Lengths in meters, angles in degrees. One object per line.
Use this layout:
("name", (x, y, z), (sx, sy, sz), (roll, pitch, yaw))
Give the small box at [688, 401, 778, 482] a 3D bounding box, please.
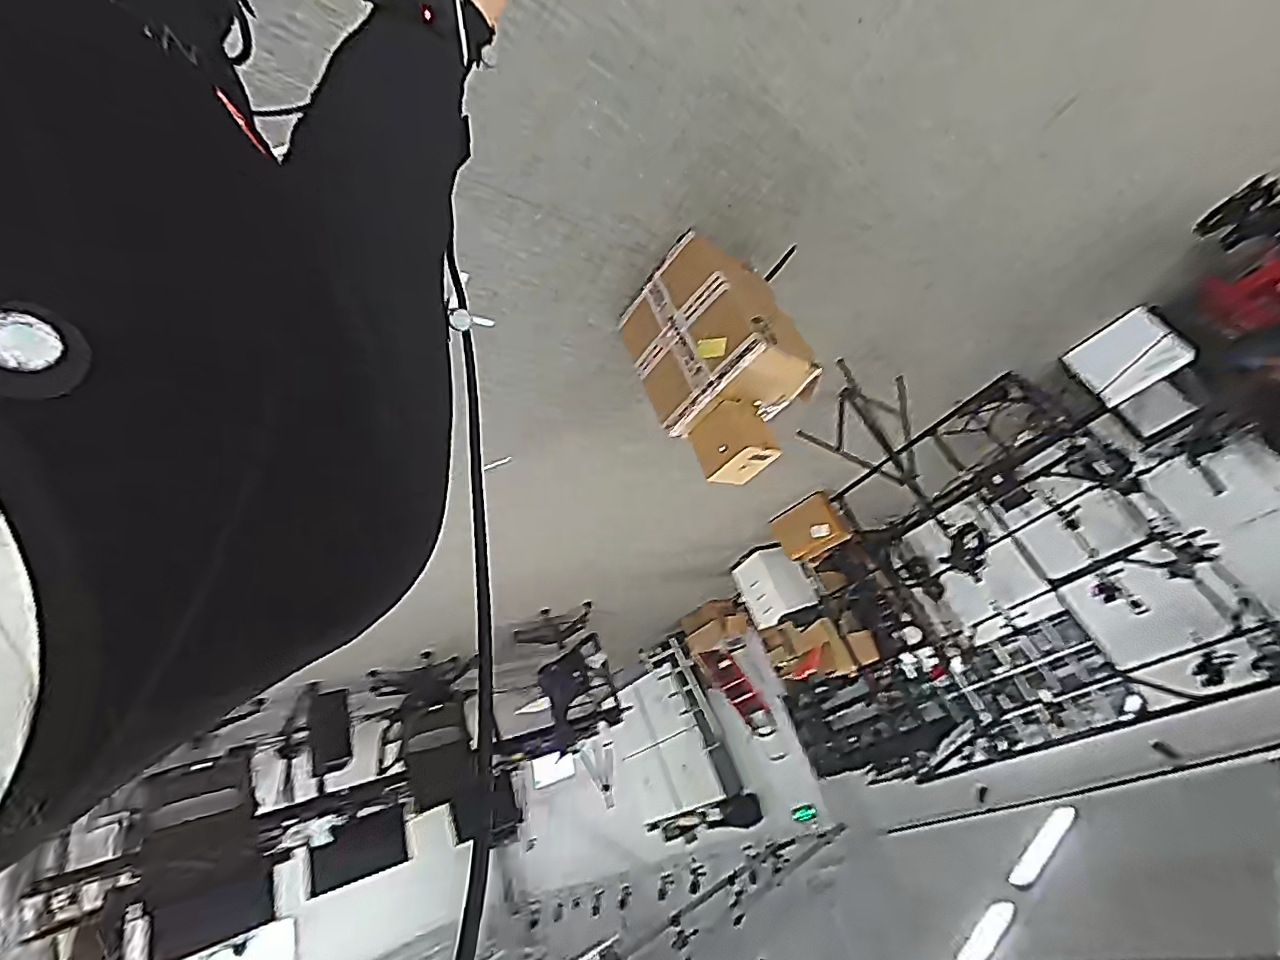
("small box", (0.269, -0.114, 1.610), (0.168, 0.176, 0.179), (6, 143, -40))
